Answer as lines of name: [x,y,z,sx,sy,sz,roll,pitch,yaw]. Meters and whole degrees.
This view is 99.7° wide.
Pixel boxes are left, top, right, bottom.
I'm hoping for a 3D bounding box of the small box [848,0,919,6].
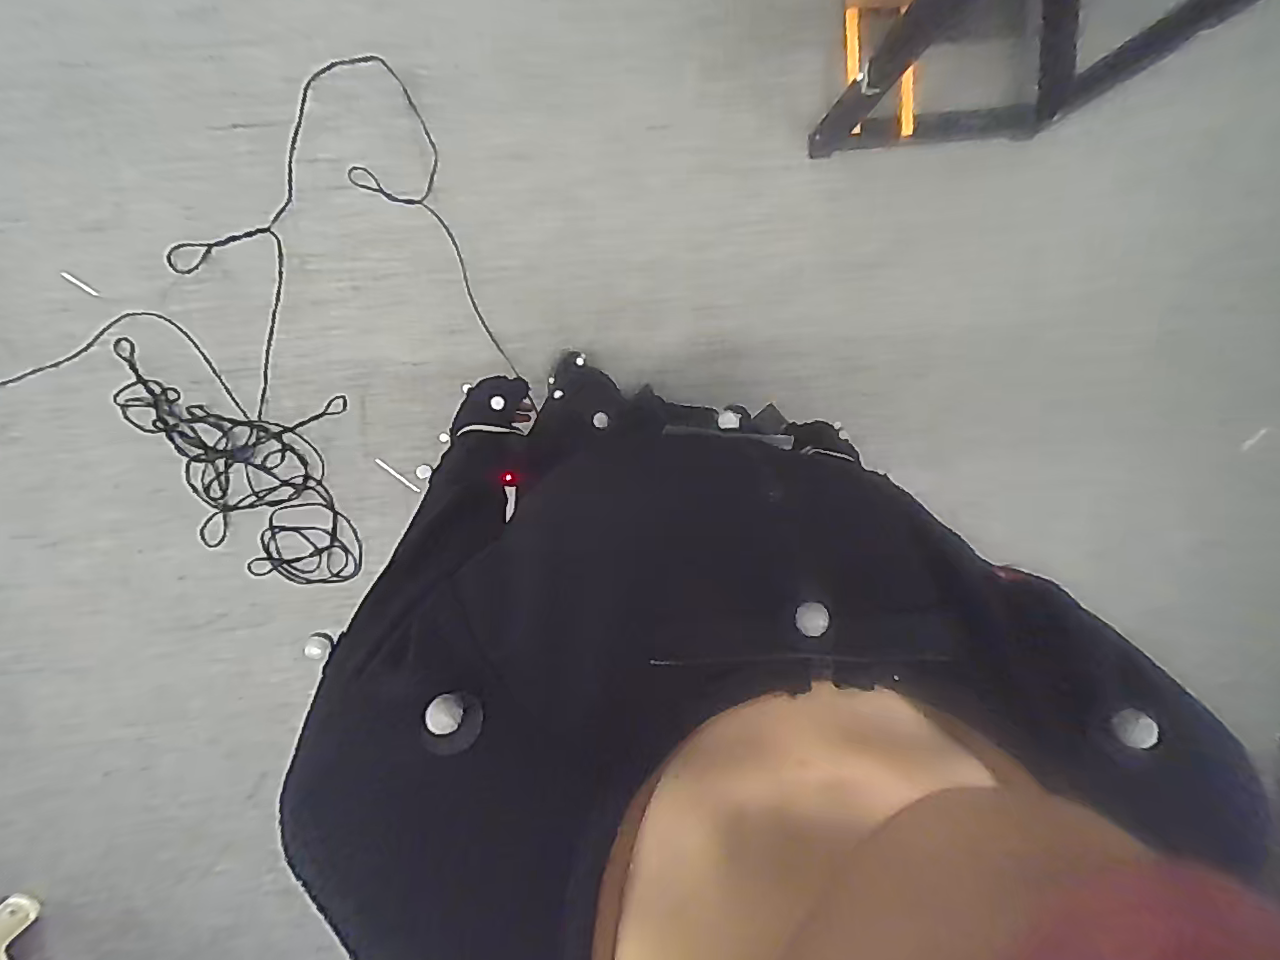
small box: [0.547,-1.132,1.124,0.179,0.176,0.168,-2,100,-2]
